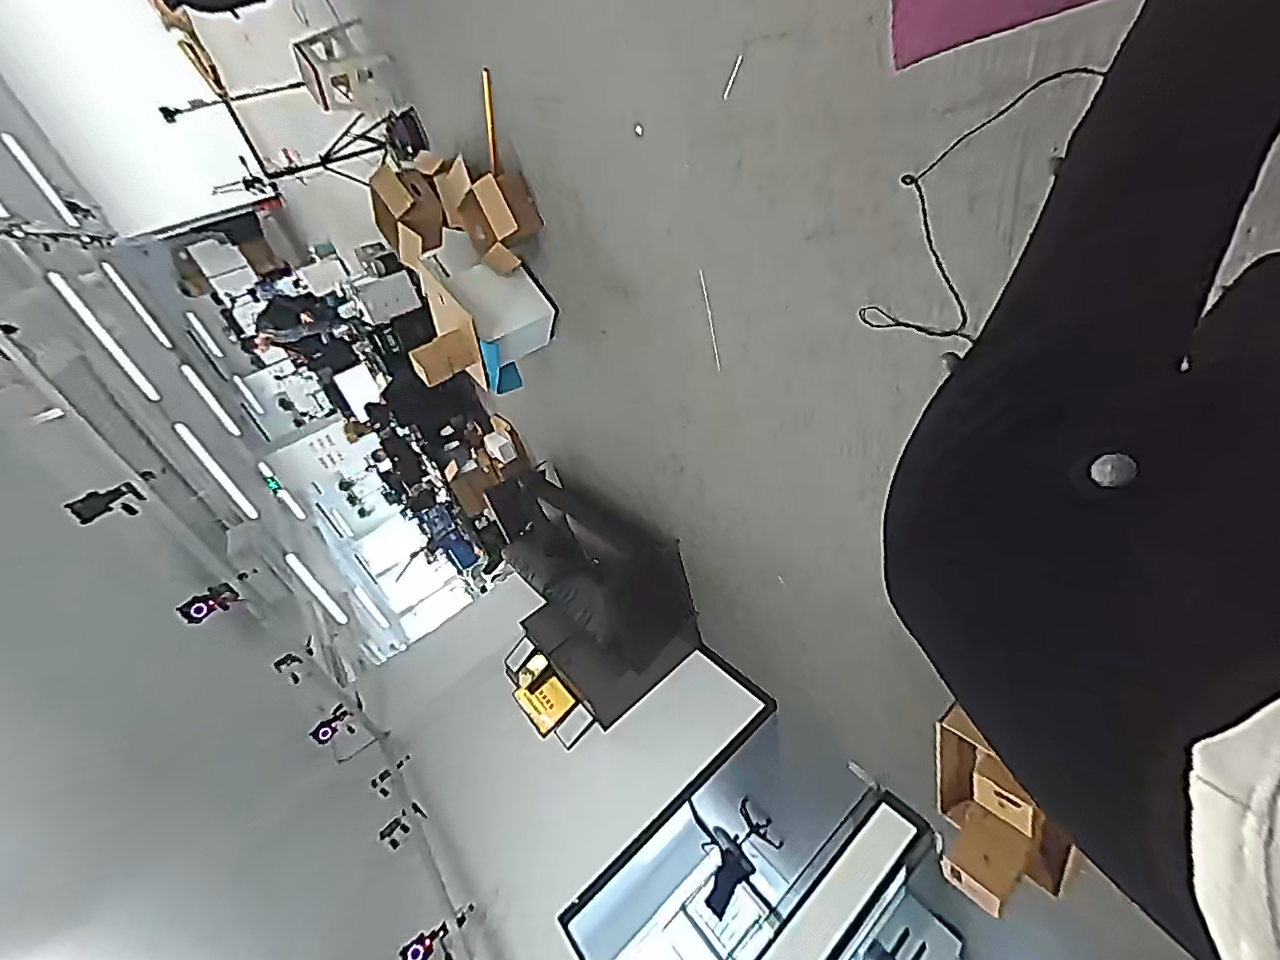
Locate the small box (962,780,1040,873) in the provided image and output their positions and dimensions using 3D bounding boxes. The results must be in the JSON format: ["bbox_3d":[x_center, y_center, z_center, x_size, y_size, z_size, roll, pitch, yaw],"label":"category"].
[{"bbox_3d":[1.242,1.181,1.857,0.179,0.176,0.168,22,141,52],"label":"small box"}]
